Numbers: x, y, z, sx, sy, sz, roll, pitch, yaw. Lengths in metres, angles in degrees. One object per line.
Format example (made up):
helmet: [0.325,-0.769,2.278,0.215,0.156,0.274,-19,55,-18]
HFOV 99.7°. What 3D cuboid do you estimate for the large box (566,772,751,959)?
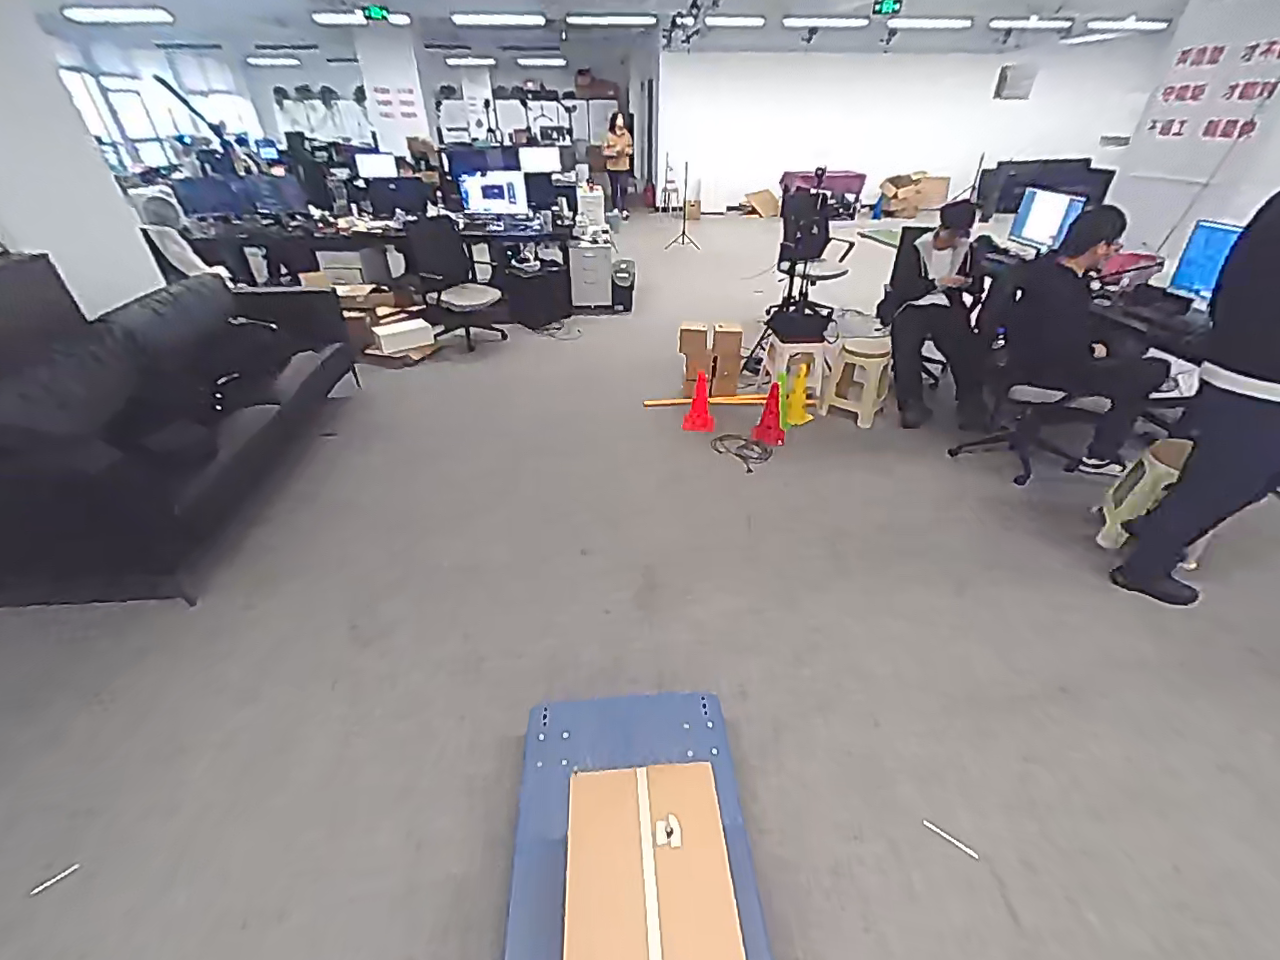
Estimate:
large box: [0.025,0.876,1.084,0.320,0.320,0.408,-2,33,-3]
